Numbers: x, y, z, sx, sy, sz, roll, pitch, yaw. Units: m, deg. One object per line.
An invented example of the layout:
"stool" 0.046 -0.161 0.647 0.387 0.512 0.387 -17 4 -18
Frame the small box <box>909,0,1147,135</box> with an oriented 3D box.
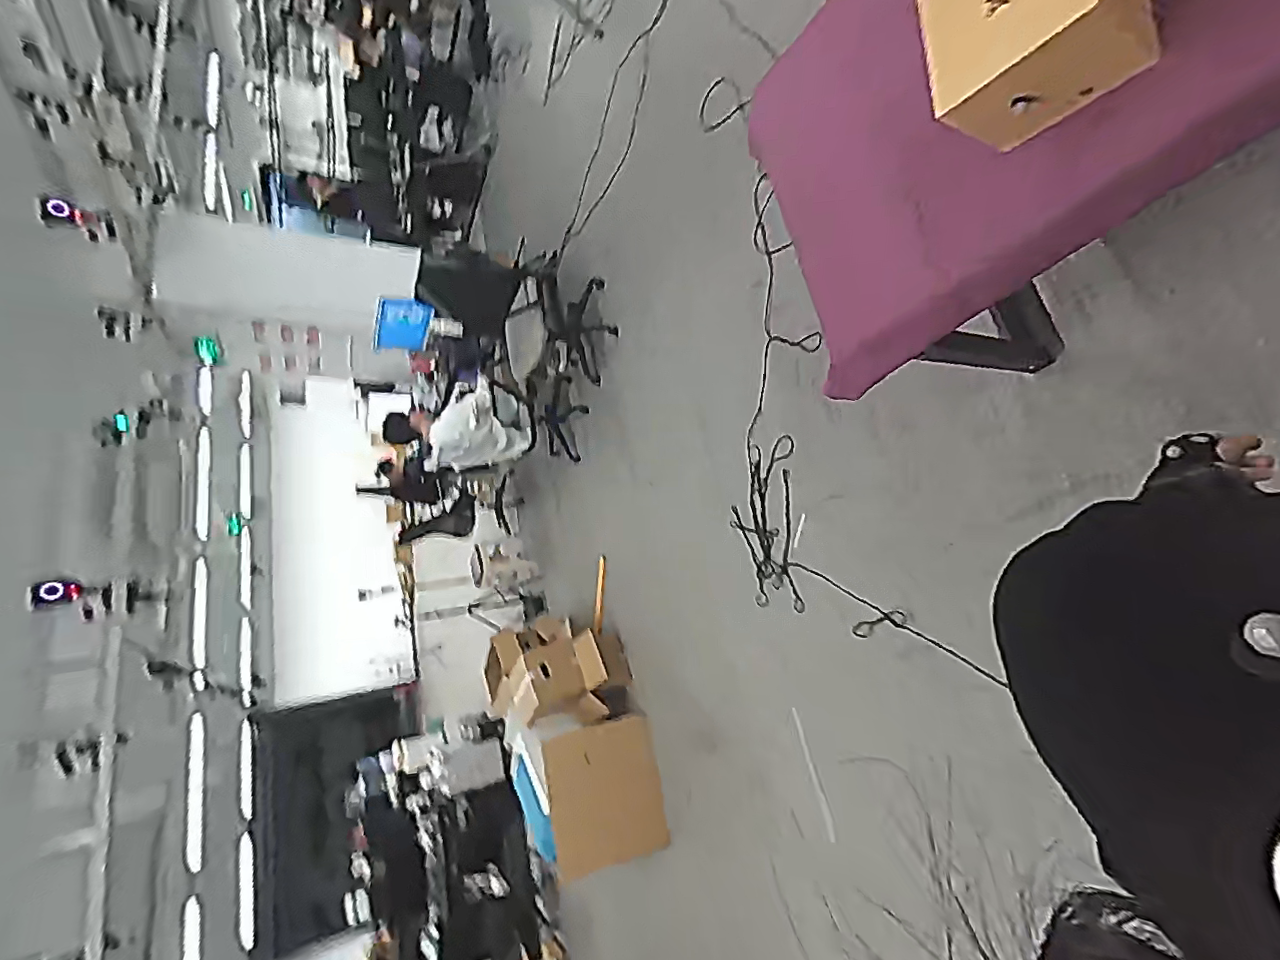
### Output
"small box" 0.456 -0.549 0.643 0.168 0.176 0.179 -16 78 59
